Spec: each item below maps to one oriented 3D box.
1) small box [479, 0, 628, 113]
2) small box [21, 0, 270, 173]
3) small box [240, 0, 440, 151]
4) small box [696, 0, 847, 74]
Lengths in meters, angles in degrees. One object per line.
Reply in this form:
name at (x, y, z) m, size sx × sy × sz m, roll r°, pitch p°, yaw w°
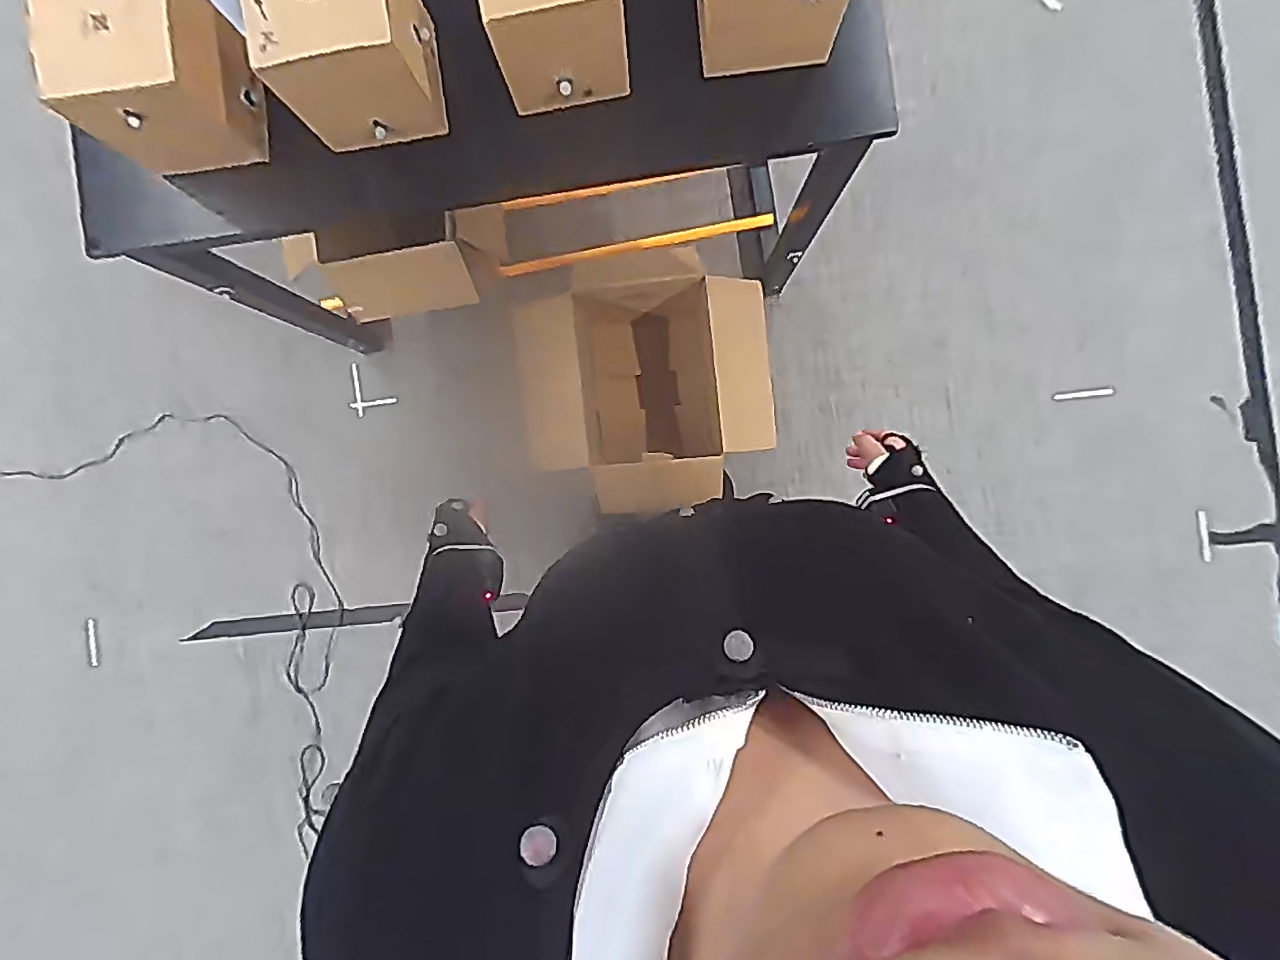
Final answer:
small box at (-0.111, -0.622, 0.694) m, size 0.168 × 0.176 × 0.179 m, roll -9°, pitch 90°, yaw 3°
small box at (-0.639, -0.536, 0.715) m, size 0.179 × 0.176 × 0.168 m, roll -7°, pitch 91°, yaw 1°
small box at (-0.377, -0.568, 0.706) m, size 0.179 × 0.176 × 0.168 m, roll -9°, pitch 89°, yaw 1°
small box at (0.165, -0.658, 0.680) m, size 0.179 × 0.176 × 0.168 m, roll -6°, pitch 88°, yaw 2°
